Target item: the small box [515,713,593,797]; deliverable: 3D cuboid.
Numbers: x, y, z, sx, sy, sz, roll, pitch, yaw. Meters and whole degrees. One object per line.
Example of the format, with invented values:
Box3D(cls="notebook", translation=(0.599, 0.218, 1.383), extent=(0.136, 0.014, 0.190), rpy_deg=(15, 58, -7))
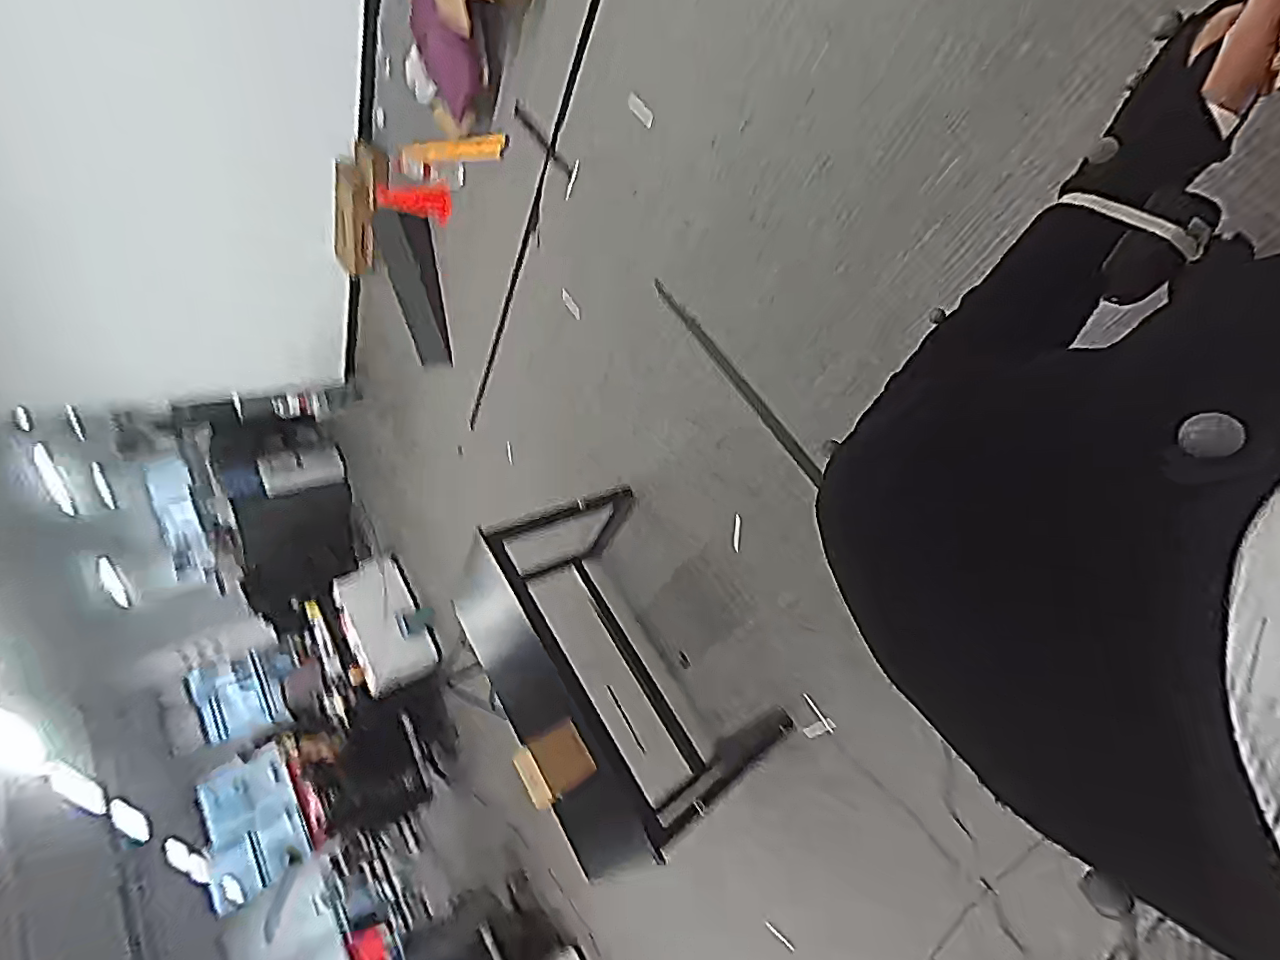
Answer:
Box3D(cls="small box", translation=(-0.275, 0.882, 1.745), extent=(0.168, 0.176, 0.179), rpy_deg=(55, 138, 20))
